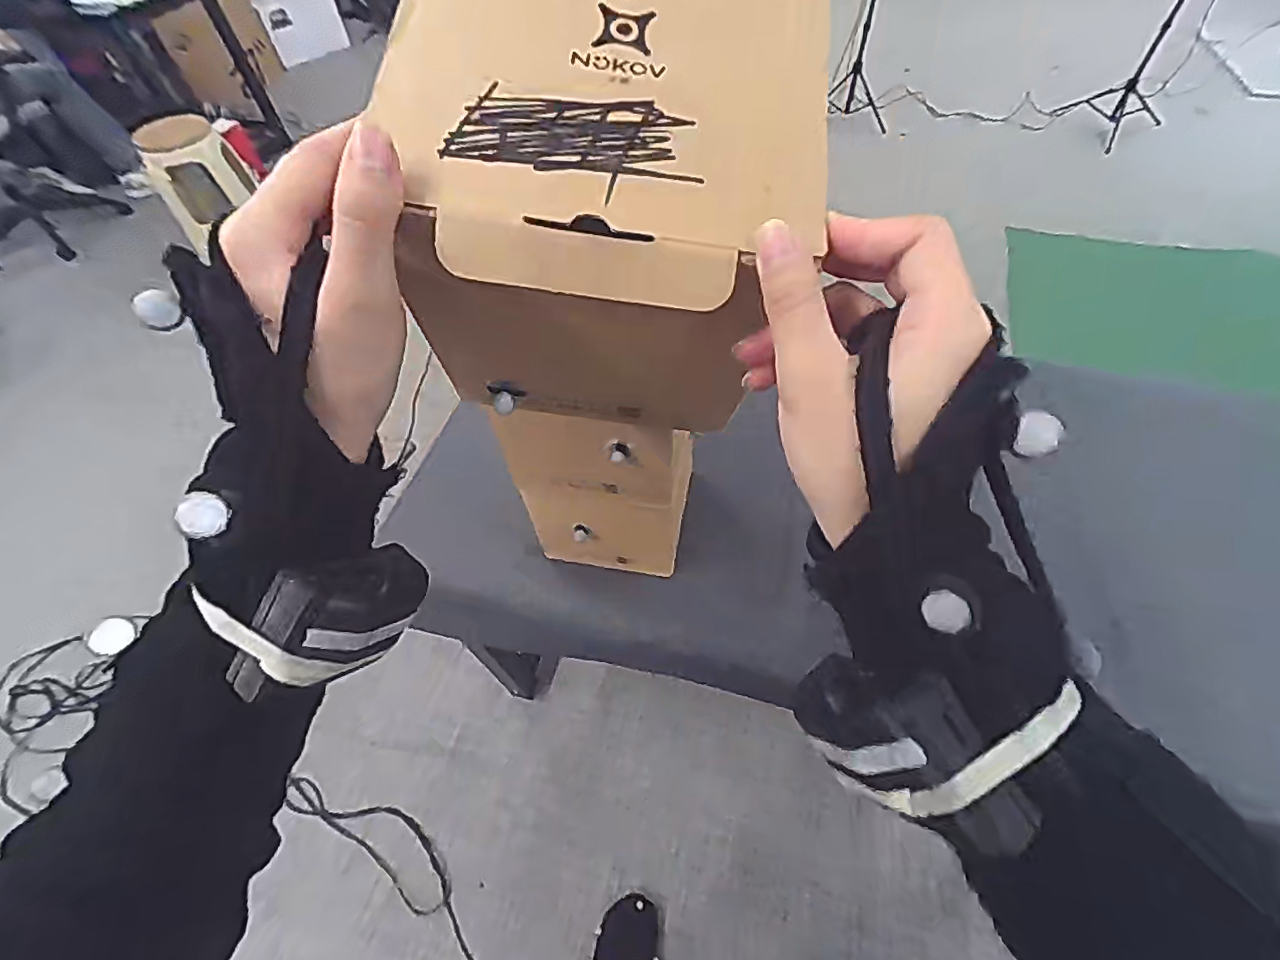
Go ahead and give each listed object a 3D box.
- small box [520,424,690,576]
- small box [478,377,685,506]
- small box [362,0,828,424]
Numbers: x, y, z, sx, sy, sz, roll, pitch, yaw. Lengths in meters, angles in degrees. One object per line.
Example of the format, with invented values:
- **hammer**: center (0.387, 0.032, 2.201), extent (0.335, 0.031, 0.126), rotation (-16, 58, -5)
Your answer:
- **small box**: center (-0.029, 0.000, 0.671), extent (0.168, 0.176, 0.179), rotation (8, 55, 8)
- **small box**: center (-0.036, -0.094, 0.539), extent (0.168, 0.176, 0.179), rotation (8, 54, 6)
- **small box**: center (-0.014, -0.145, 0.289), extent (0.168, 0.176, 0.179), rotation (8, 72, -4)
